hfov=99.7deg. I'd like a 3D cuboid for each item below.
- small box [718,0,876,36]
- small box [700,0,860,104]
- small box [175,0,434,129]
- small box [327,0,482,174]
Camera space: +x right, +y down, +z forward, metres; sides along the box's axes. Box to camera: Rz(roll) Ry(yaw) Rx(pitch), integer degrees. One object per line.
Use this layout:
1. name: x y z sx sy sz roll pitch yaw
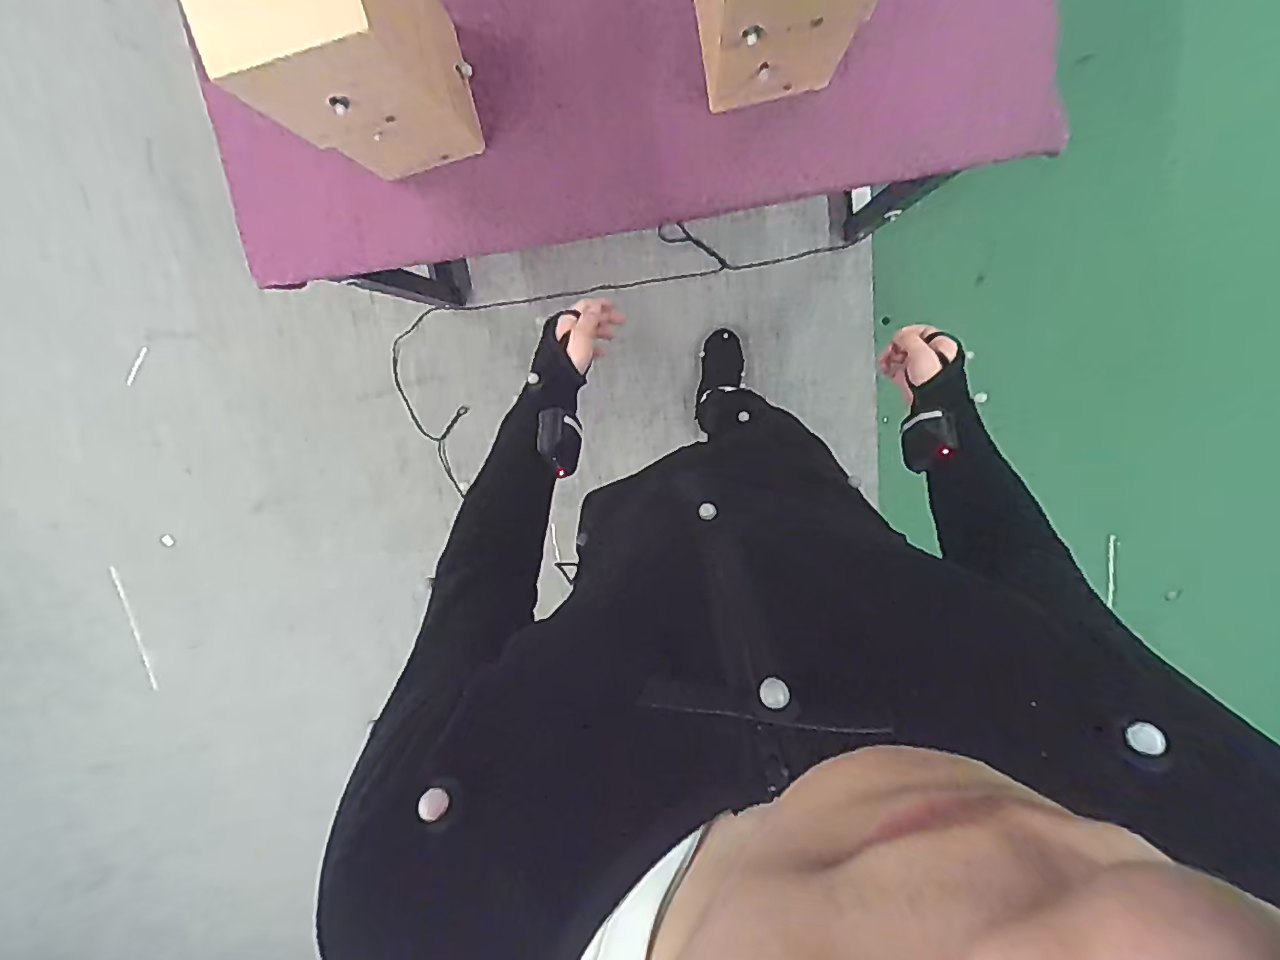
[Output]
1. small box: 0.155 -0.558 0.502 0.168 0.176 0.179 -7 99 5
2. small box: 0.164 -0.597 0.662 0.168 0.176 0.179 -9 100 6
3. small box: -0.334 -0.486 0.545 0.168 0.176 0.179 -11 101 5
4. small box: -0.329 -0.537 0.703 0.168 0.176 0.179 -12 101 6
